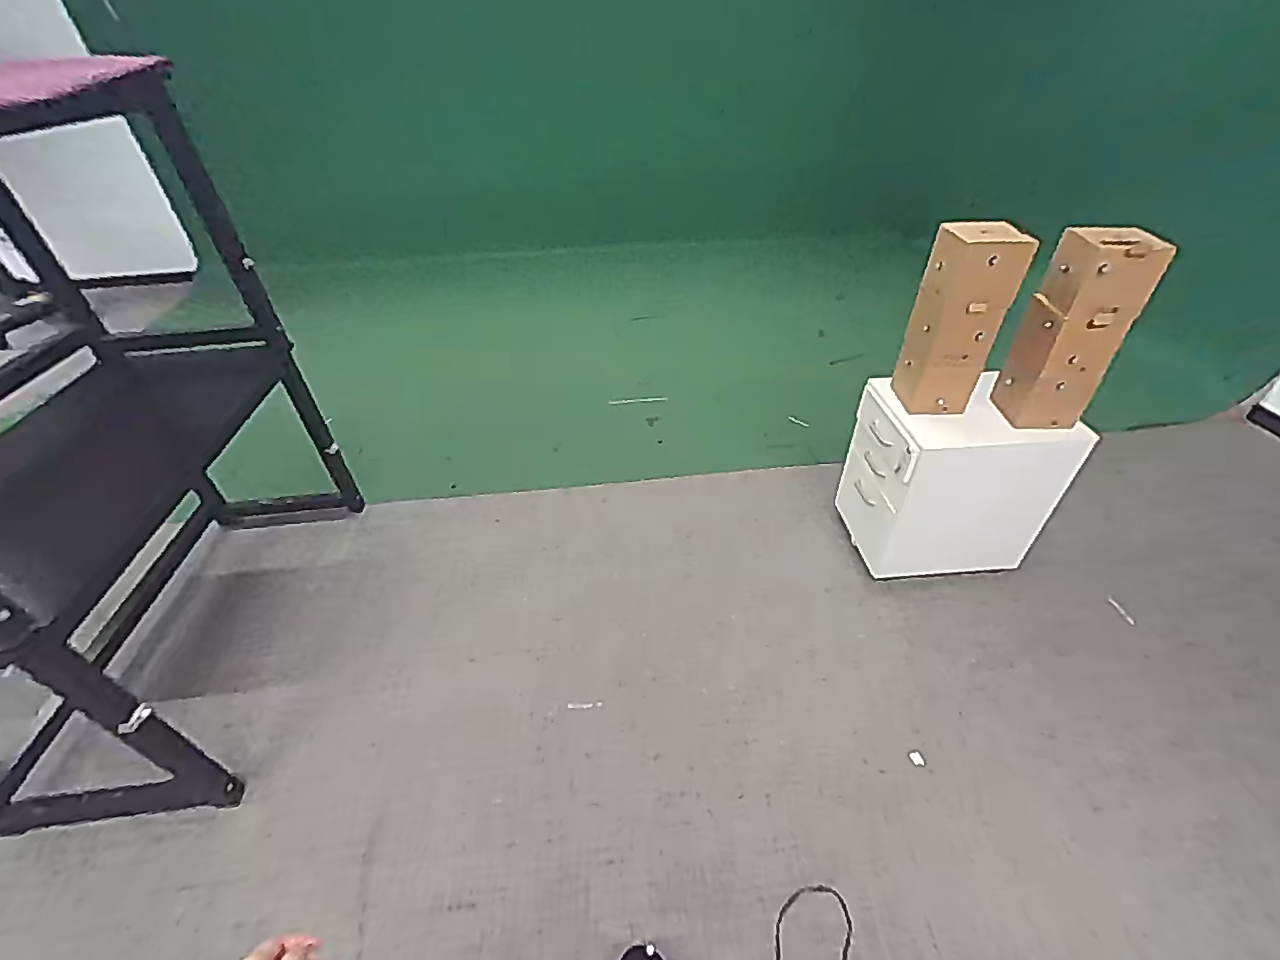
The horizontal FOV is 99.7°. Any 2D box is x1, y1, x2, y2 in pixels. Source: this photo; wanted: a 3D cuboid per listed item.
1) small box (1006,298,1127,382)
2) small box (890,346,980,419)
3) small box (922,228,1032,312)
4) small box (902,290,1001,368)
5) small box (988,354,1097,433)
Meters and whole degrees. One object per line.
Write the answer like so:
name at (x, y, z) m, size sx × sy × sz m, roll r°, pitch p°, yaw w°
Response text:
small box at (1.144, -0.381, 1.469) m, size 0.168 × 0.176 × 0.179 m, roll 0°, pitch 40°, yaw 3°
small box at (0.882, -0.302, 1.639) m, size 0.168 × 0.176 × 0.179 m, roll 0°, pitch 41°, yaw 2°
small box at (0.876, -0.555, 1.432) m, size 0.179 × 0.176 × 0.168 m, roll 0°, pitch 41°, yaw 0°
small box at (0.875, -0.428, 1.537) m, size 0.168 × 0.176 × 0.179 m, roll 1°, pitch 39°, yaw 1°
small box at (1.153, -0.253, 1.569) m, size 0.168 × 0.176 × 0.179 m, roll 0°, pitch 39°, yaw 4°
